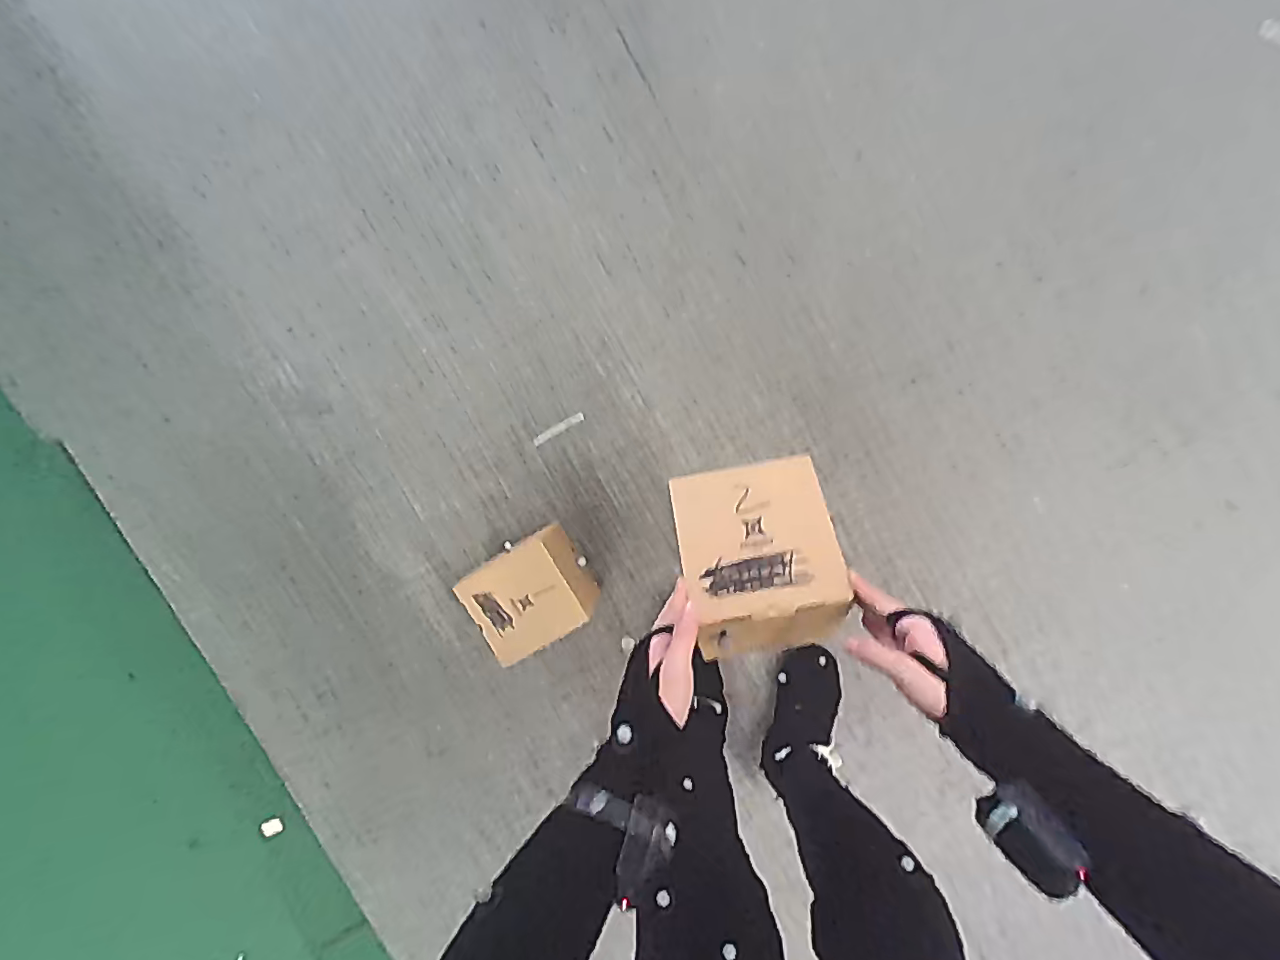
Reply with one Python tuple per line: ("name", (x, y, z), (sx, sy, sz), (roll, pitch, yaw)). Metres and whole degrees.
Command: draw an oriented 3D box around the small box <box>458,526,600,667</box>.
("small box", (-0.191, 0.203, 0.987), (0.179, 0.176, 0.168), (-30, 93, 3))
